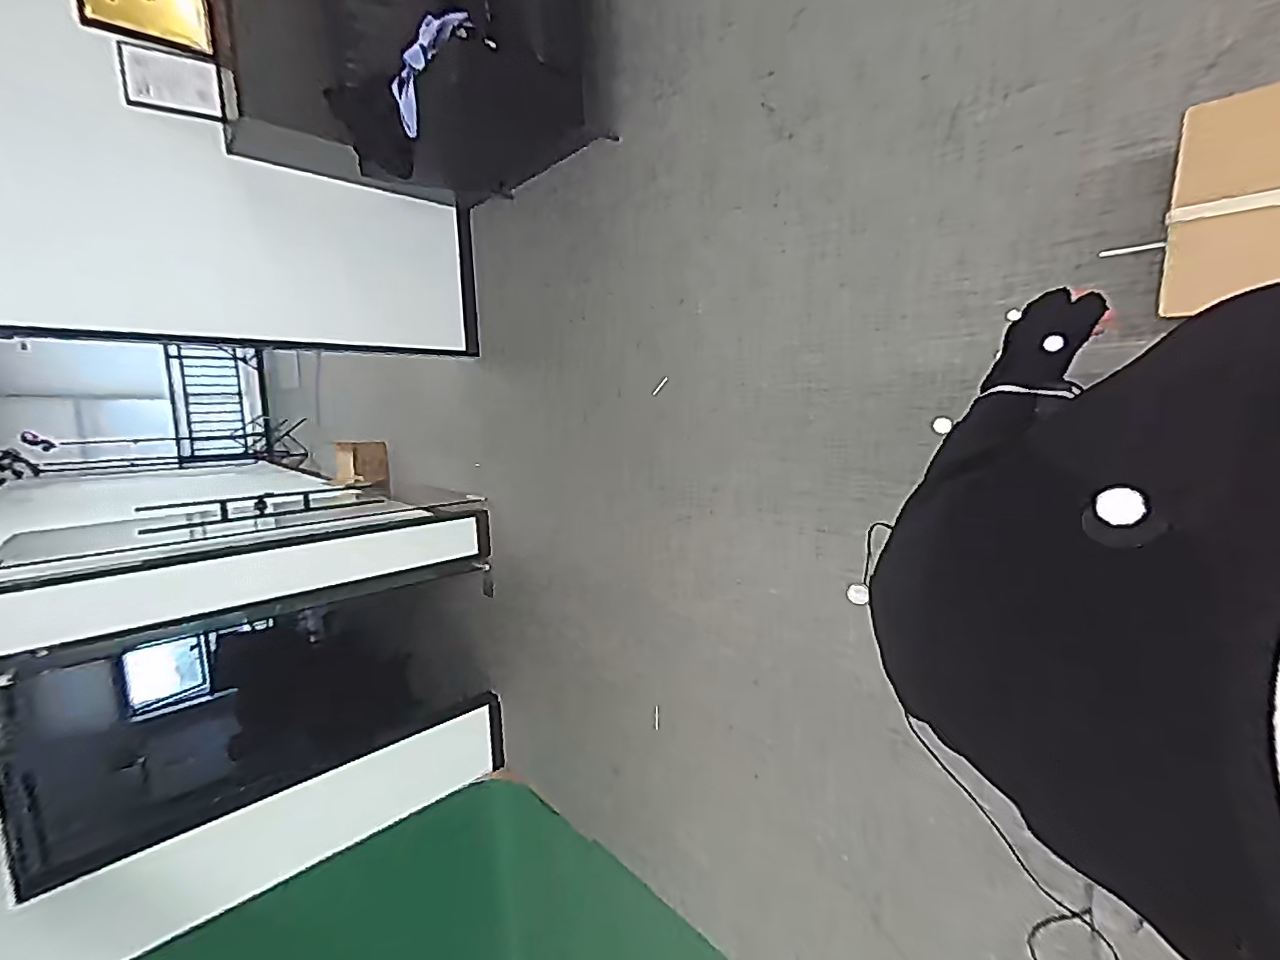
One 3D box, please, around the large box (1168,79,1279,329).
[{"bbox_3d":[1.084,-0.416,0.802,0.408,0.320,0.320,9,102,46],"label":"large box"}]
